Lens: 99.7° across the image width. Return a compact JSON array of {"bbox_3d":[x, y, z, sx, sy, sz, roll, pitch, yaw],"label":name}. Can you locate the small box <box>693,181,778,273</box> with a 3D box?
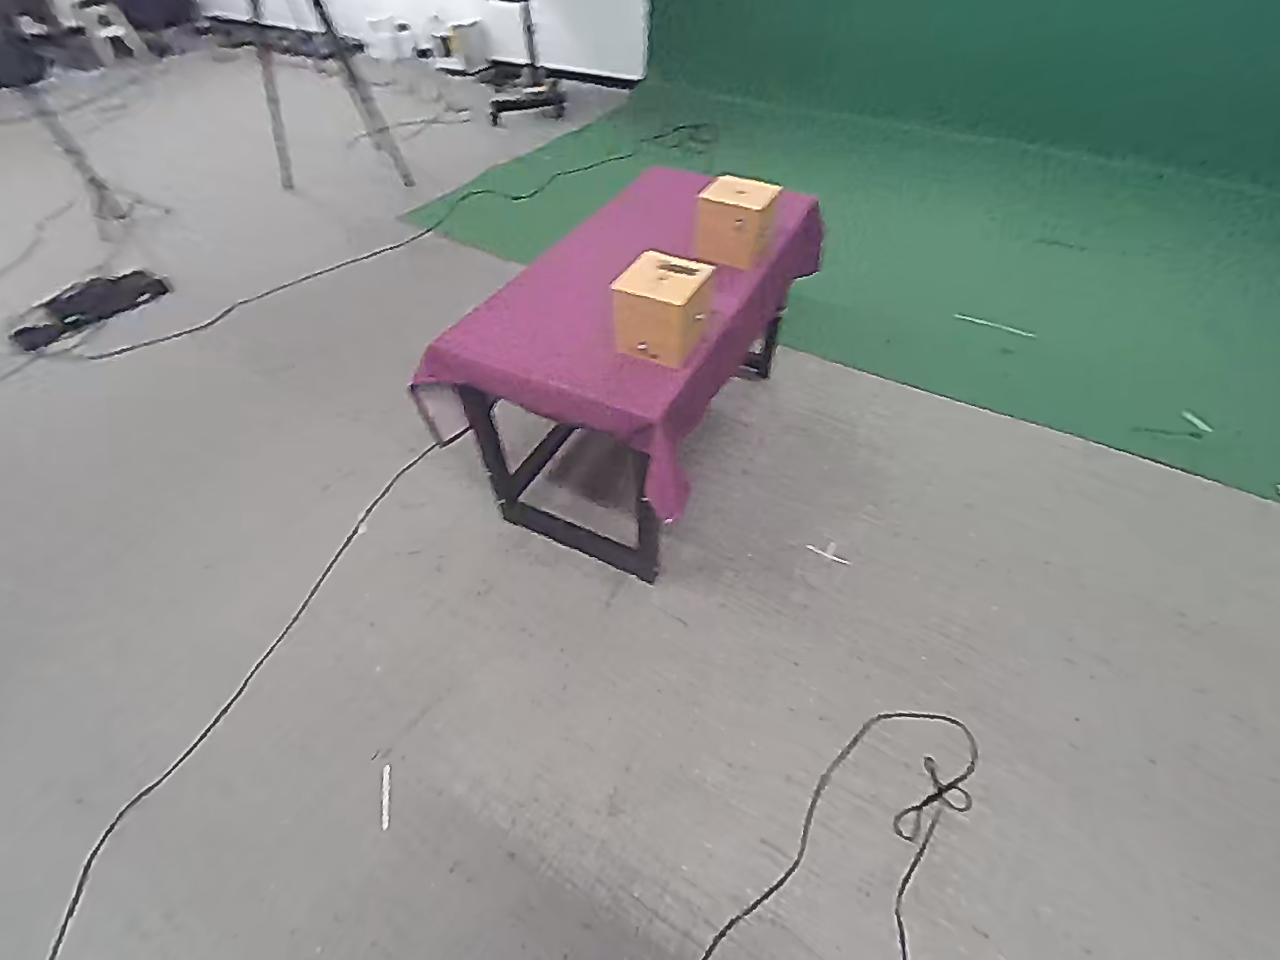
[{"bbox_3d":[0.262,-0.703,1.510,0.179,0.176,0.168,23,53,19],"label":"small box"}]
